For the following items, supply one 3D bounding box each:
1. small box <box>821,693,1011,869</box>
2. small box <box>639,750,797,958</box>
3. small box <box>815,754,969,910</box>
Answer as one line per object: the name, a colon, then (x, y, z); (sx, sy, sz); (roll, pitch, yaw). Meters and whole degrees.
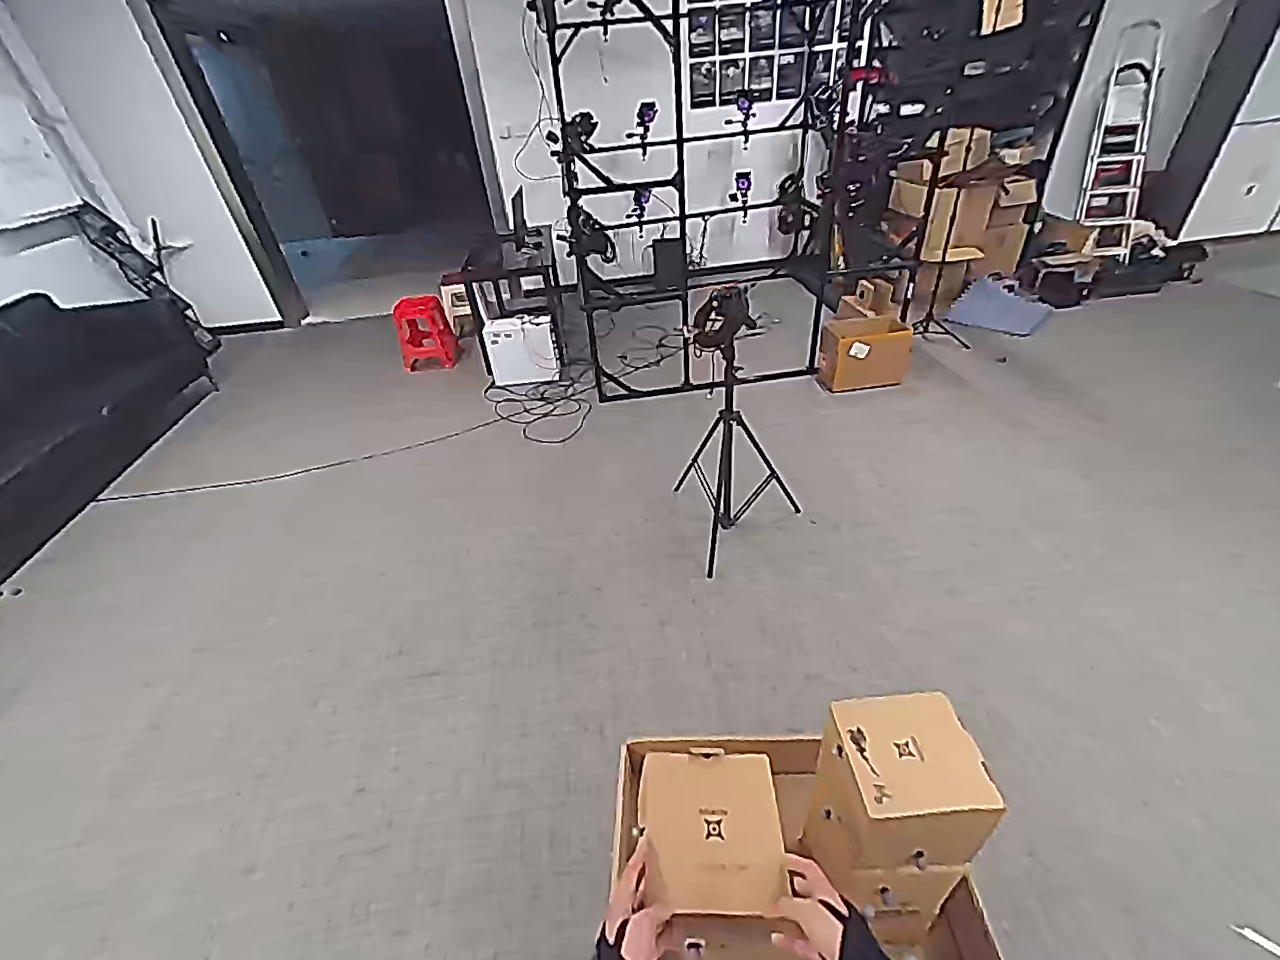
small box: (0.378, 0.432, 0.780); (0.179, 0.176, 0.168); (-5, 35, 1)
small box: (0.084, 0.474, 0.690); (0.168, 0.176, 0.179); (2, 38, -2)
small box: (0.390, 0.567, 0.873); (0.168, 0.176, 0.179); (-4, 35, 3)
